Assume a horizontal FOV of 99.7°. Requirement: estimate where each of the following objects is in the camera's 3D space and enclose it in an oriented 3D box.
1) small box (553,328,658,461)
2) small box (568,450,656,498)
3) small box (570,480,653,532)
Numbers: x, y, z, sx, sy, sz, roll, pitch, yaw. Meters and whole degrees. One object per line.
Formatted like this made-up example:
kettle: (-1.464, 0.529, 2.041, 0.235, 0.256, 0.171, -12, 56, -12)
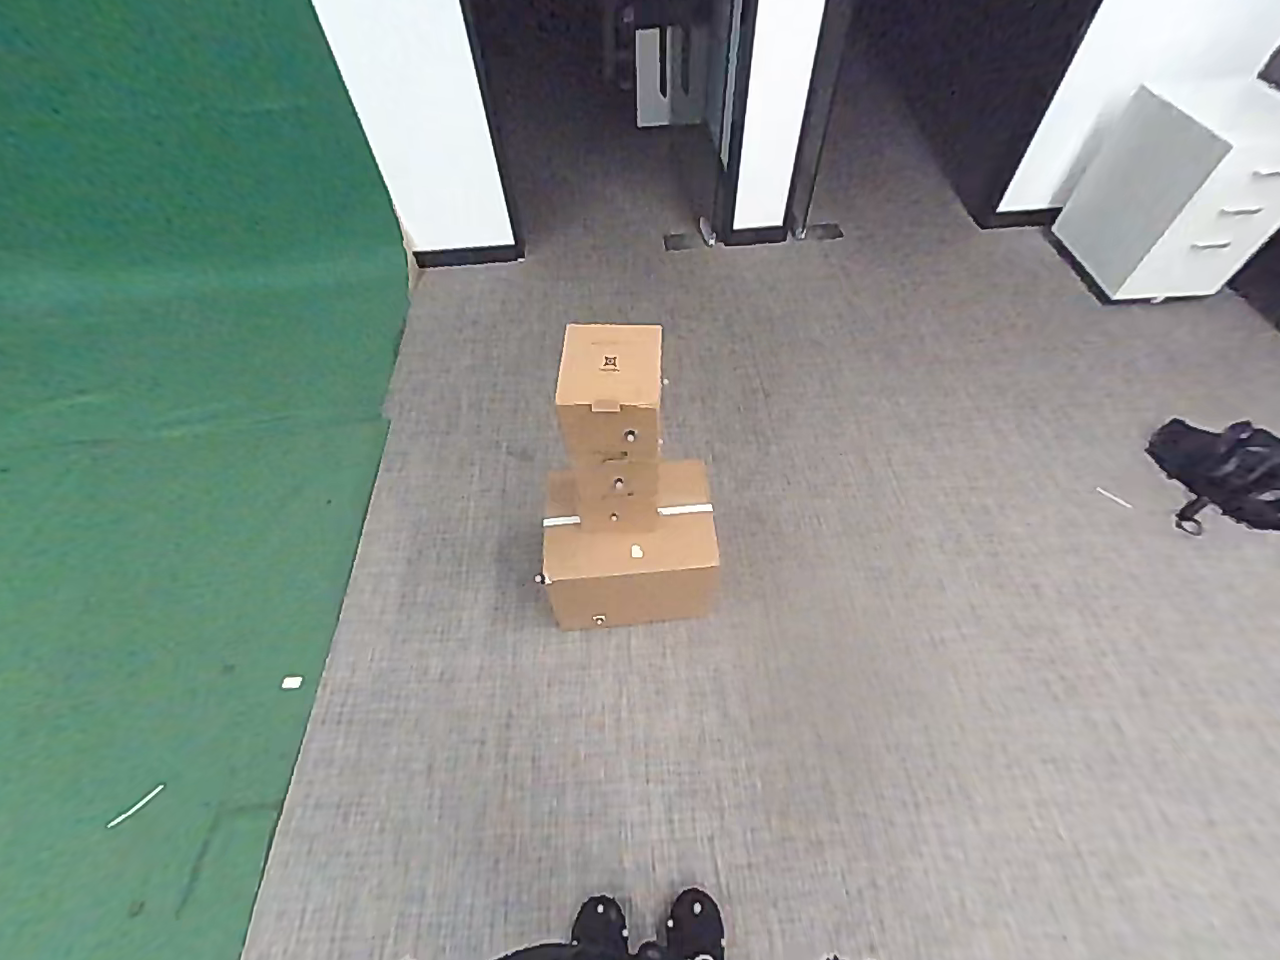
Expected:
small box: (-0.053, -0.147, 0.963, 0.168, 0.176, 0.179, 2, 59, 1)
small box: (-0.056, -0.072, 1.108, 0.168, 0.176, 0.179, -5, 61, -2)
small box: (-0.057, 0.011, 1.246, 0.179, 0.176, 0.168, 2, 58, 2)
